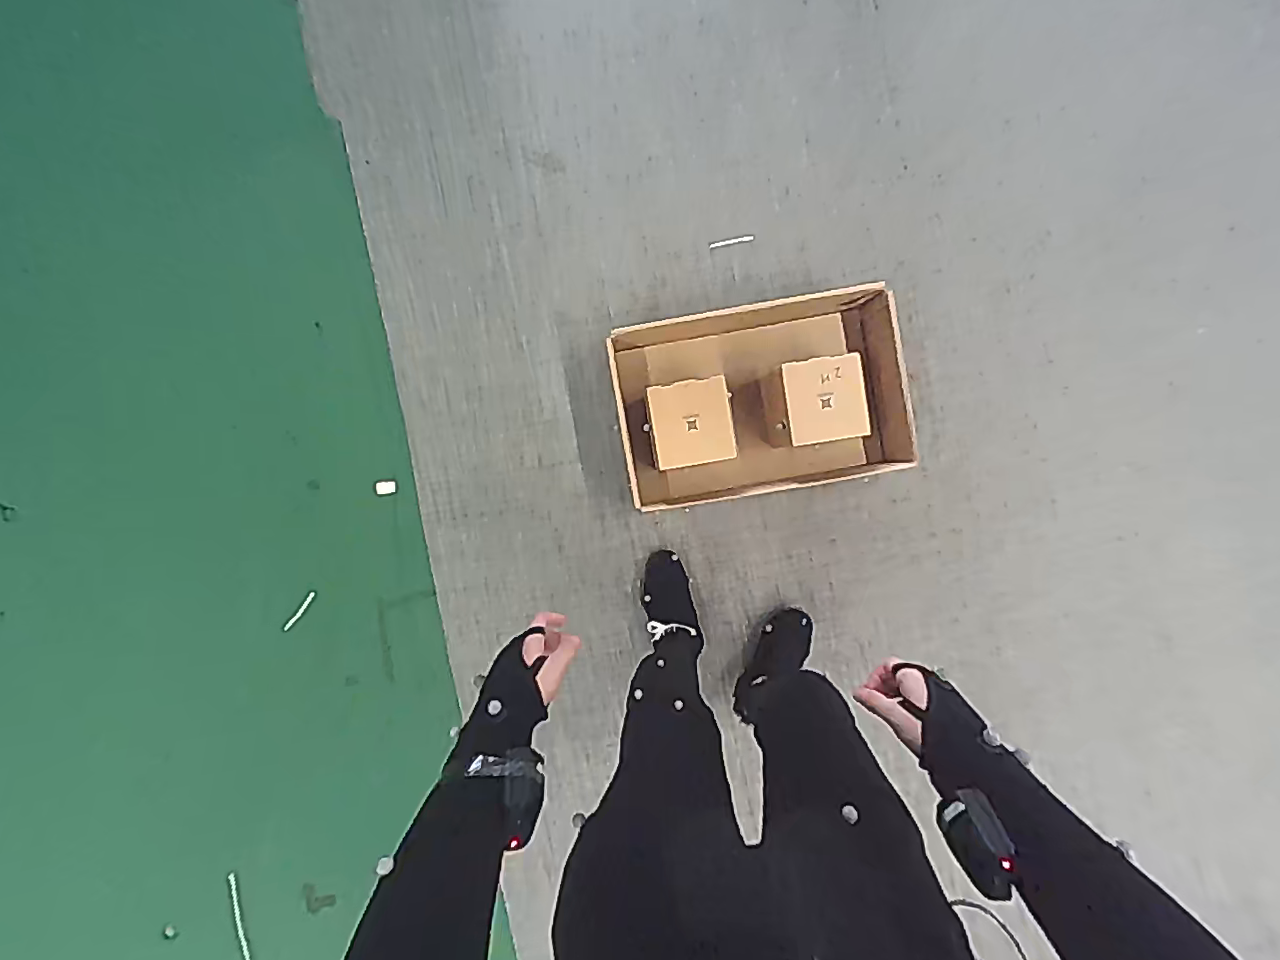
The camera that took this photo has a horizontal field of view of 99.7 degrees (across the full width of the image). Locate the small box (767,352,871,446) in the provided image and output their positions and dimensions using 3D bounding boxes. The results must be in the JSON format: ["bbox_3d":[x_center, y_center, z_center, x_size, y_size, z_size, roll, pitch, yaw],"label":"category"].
[{"bbox_3d":[0.388,-0.170,1.193,0.168,0.176,0.179,-8,91,0],"label":"small box"}]

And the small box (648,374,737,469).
[{"bbox_3d":[0.110,-0.122,1.195,0.168,0.176,0.179,-9,90,0],"label":"small box"}]
